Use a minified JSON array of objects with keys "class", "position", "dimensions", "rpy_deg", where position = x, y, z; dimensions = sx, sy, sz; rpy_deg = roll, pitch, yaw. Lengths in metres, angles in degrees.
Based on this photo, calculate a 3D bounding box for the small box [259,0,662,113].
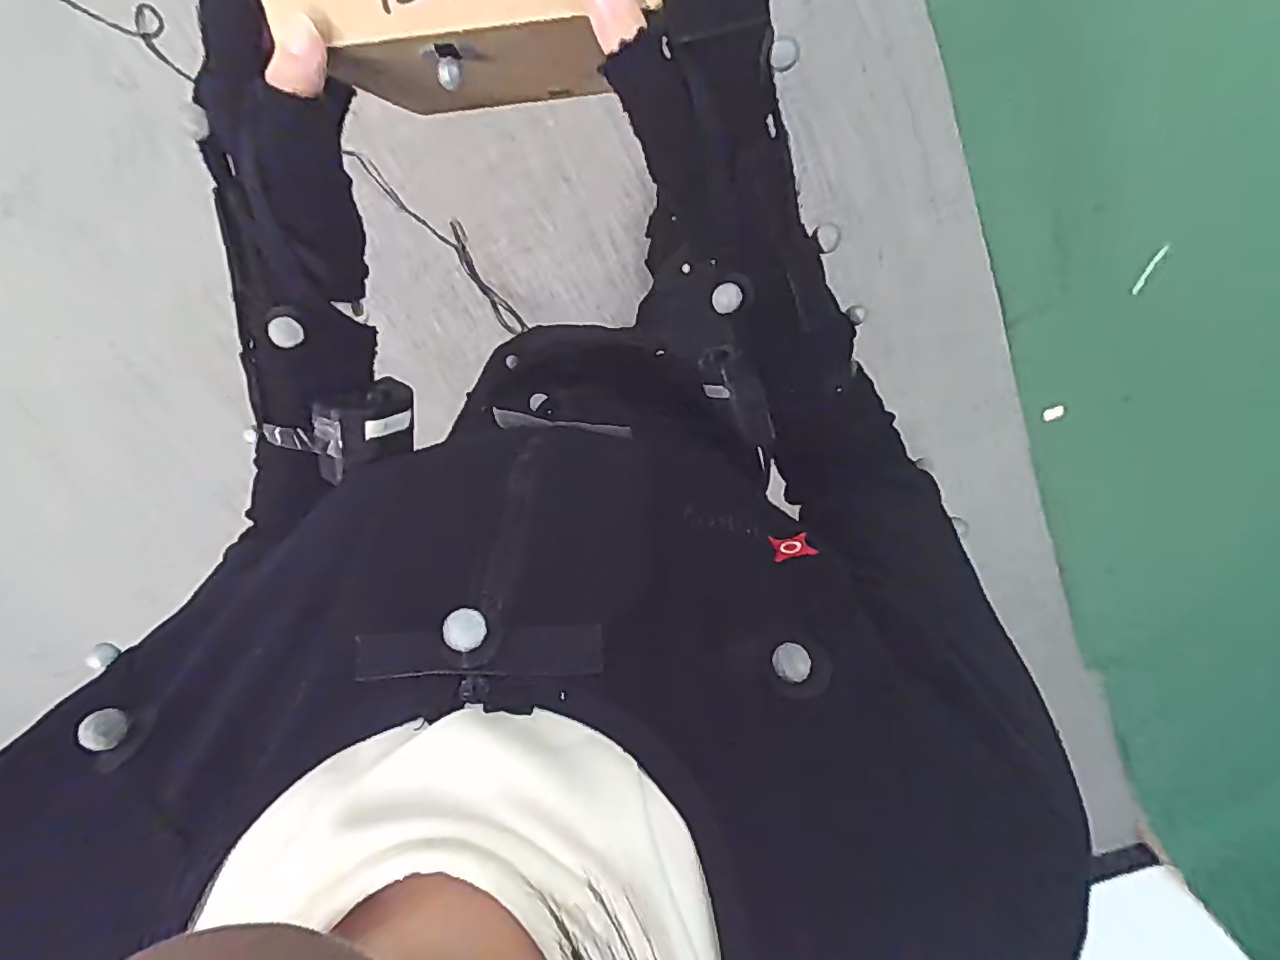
[{"class":"small box","position":[-0.082,-0.303,0.259],"dimensions":[0.168,0.176,0.179],"rpy_deg":[-6,115,2]}]
